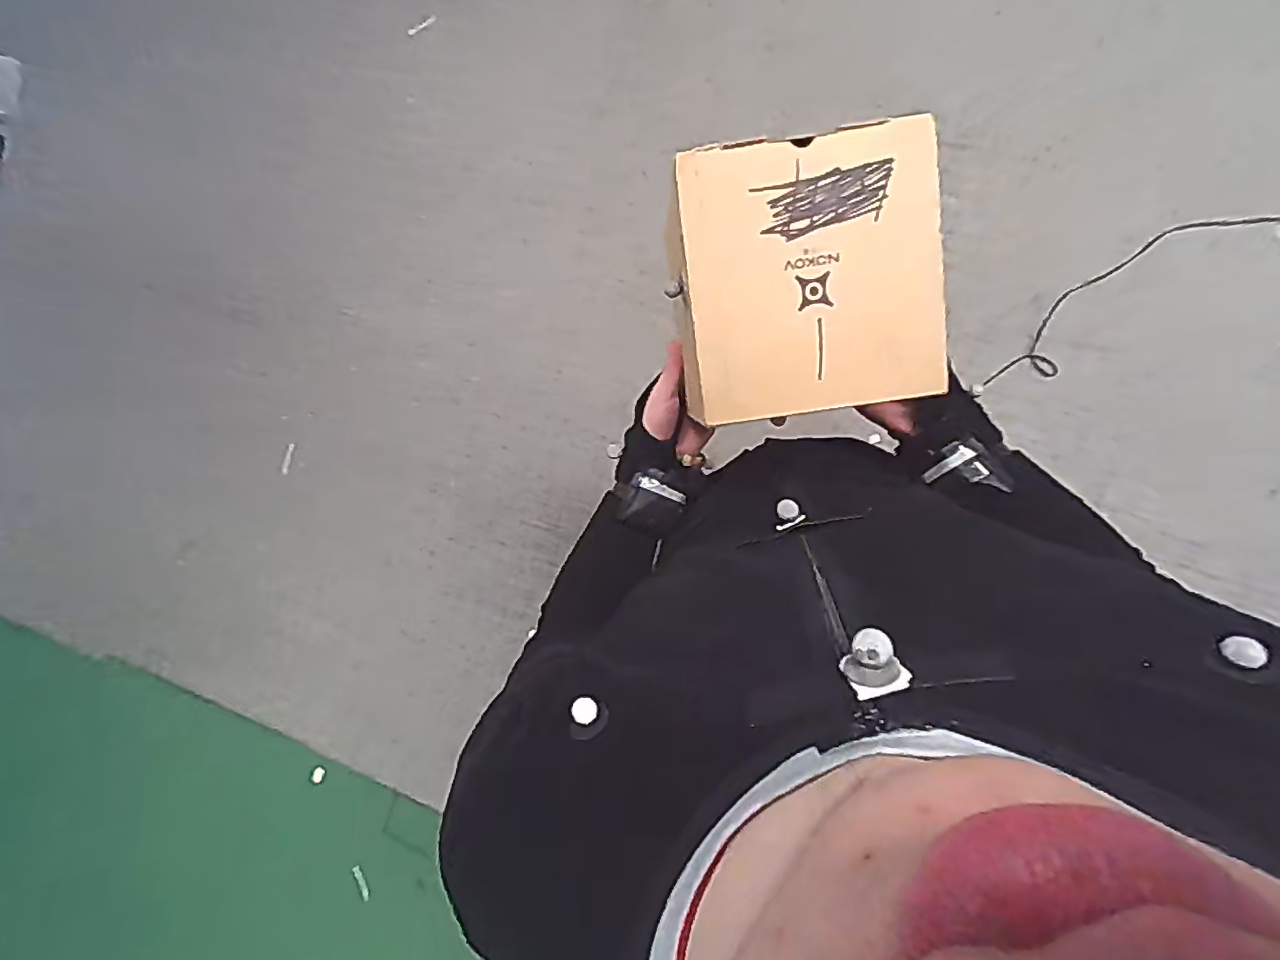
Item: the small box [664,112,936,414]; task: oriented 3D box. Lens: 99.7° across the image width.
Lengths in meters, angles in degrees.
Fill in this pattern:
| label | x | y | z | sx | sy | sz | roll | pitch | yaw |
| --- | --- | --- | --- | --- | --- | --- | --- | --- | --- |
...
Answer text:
| label | x | y | z | sx | sy | sz | roll | pitch | yaw |
| --- | --- | --- | --- | --- | --- | --- | --- | --- | --- |
| small box | 0.111 | -0.153 | 0.434 | 0.168 | 0.176 | 0.179 | -7 | 101 | 2 |
